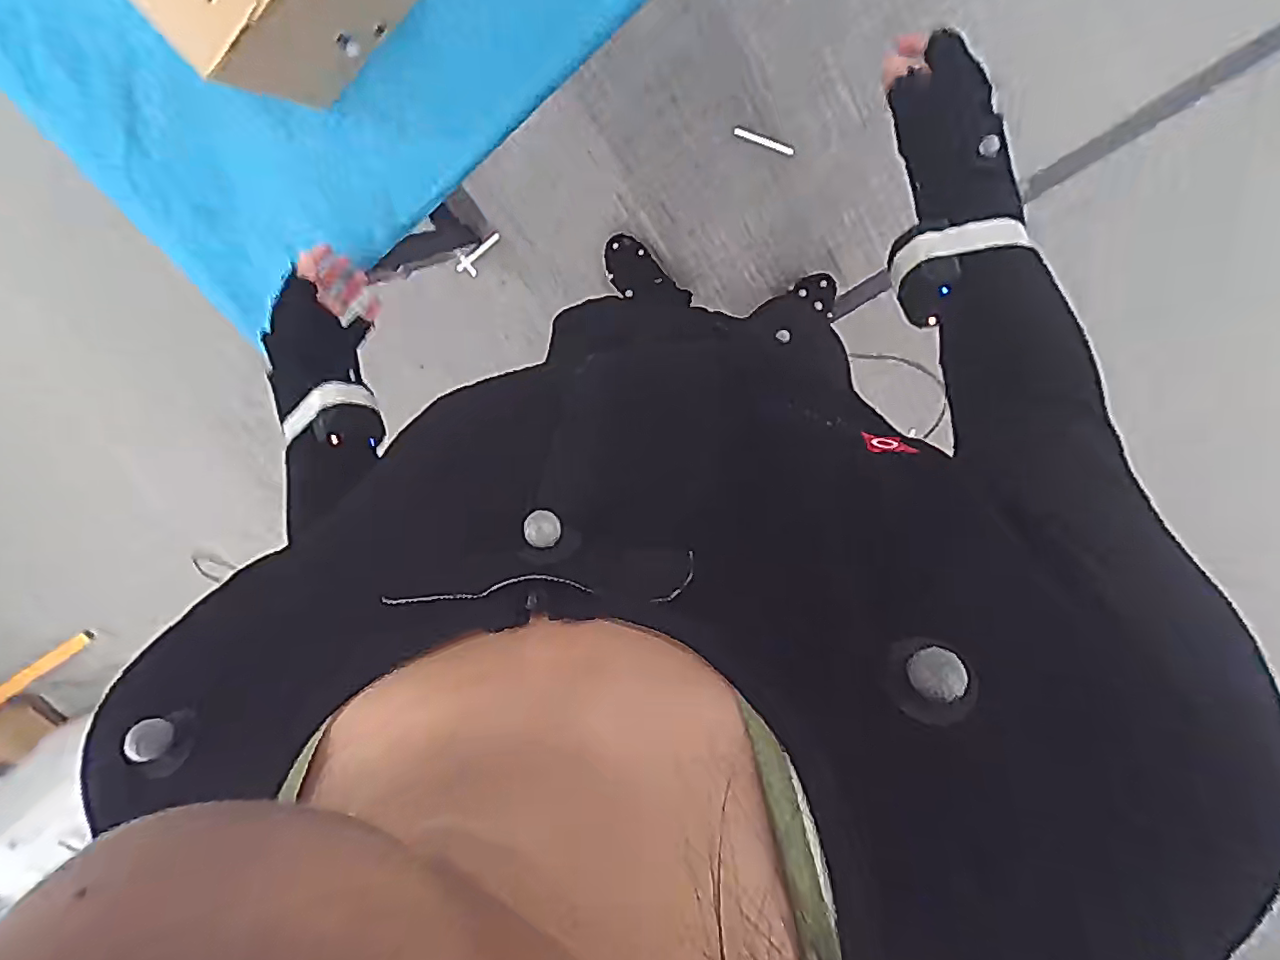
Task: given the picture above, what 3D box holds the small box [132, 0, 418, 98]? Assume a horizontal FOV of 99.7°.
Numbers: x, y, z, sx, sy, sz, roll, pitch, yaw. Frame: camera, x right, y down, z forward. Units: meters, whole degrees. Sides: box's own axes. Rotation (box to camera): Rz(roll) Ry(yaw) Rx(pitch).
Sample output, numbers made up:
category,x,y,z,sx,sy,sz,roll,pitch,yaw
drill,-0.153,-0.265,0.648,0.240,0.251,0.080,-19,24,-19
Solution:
category,x,y,z,sx,sy,sz,roll,pitch,yaw
small box,-0.324,-0.456,0.444,0.168,0.176,0.179,-29,115,19
